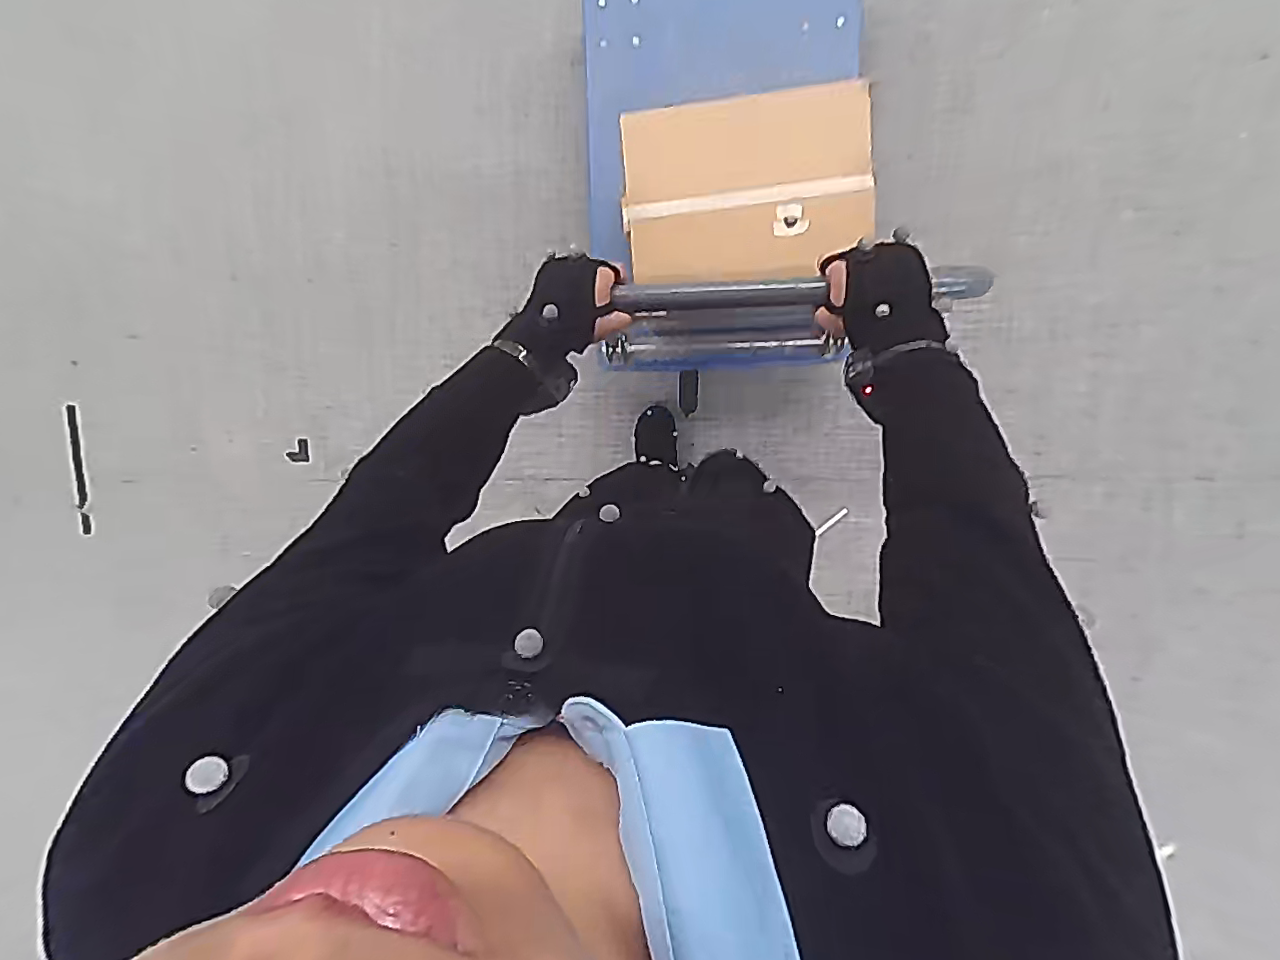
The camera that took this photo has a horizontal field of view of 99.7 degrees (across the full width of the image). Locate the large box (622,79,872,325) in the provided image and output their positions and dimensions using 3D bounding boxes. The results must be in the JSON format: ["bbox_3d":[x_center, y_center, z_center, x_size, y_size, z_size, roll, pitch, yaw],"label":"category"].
[{"bbox_3d":[0.191,-0.503,1.060,0.408,0.320,0.320,-5,99,5],"label":"large box"}]
